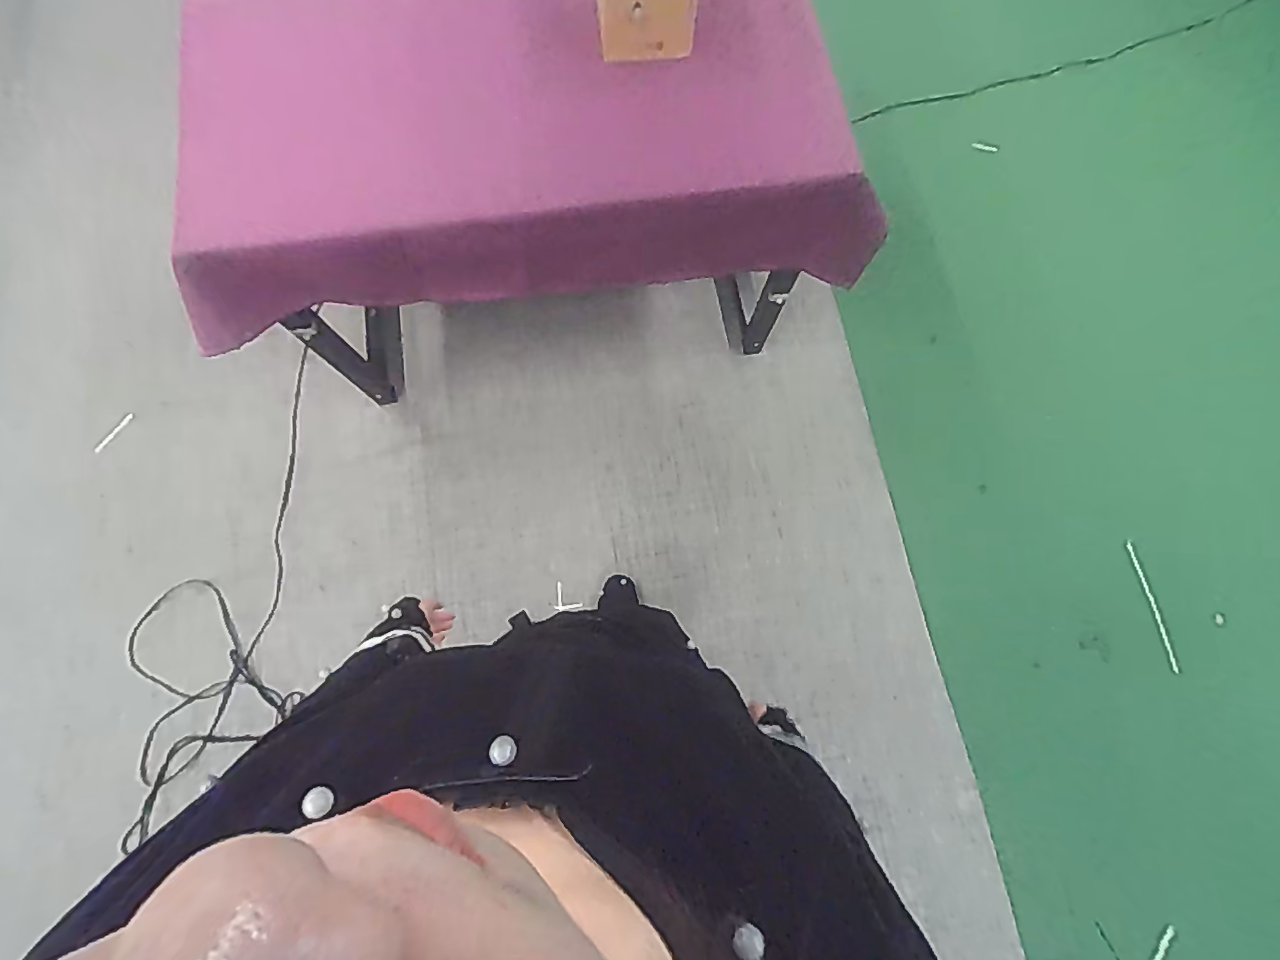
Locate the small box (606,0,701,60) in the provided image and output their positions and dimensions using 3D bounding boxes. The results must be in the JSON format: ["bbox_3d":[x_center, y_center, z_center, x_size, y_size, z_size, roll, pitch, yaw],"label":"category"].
[{"bbox_3d":[0.020,-0.895,0.972,0.168,0.176,0.179,-5,76,-2],"label":"small box"}]
